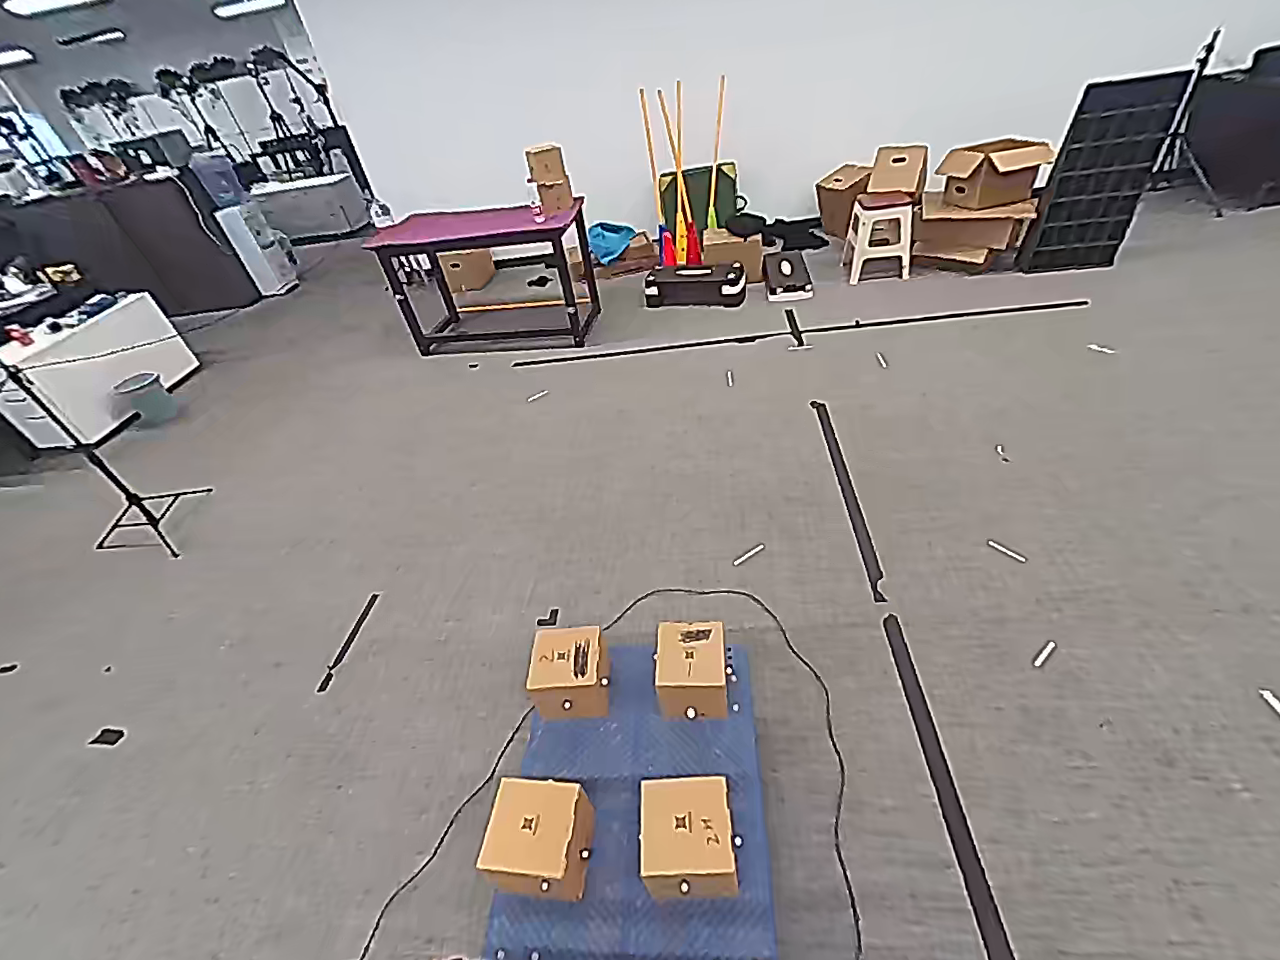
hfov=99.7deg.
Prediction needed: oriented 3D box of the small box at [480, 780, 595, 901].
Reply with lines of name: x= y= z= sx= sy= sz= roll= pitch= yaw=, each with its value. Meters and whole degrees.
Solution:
small box: x=-0.203 y=0.752 z=1.128 sx=0.179 sy=0.176 sz=0.168 roll=-1 pitch=40 yaw=9

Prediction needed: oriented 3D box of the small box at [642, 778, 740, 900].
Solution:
small box: x=0.103 y=0.725 z=1.090 sx=0.179 sy=0.176 sz=0.168 roll=-6 pitch=40 yaw=6

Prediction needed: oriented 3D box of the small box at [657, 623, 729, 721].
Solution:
small box: x=0.138 y=0.485 z=1.370 sx=0.168 sy=0.176 sz=0.179 roll=-3 pitch=41 yaw=9
